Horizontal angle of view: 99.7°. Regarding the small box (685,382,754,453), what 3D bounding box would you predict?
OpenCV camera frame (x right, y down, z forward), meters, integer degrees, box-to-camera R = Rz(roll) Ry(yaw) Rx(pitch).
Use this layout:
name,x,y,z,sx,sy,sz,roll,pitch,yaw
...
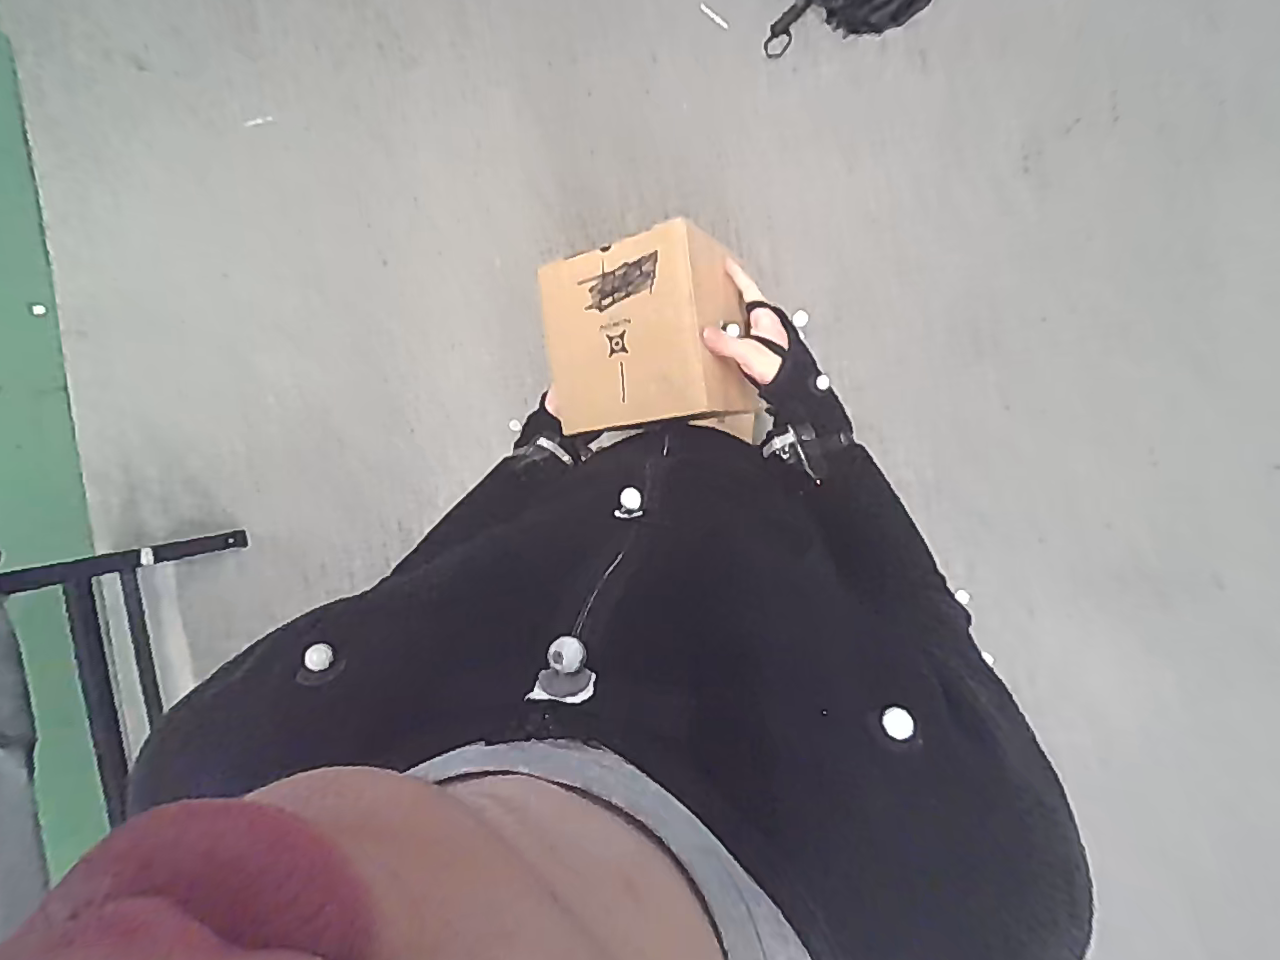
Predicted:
name,x,y,z,sx,sy,sz,roll,pitch,yaw
small box,0.214,-0.165,1.458,0.168,0.176,0.179,4,95,10
